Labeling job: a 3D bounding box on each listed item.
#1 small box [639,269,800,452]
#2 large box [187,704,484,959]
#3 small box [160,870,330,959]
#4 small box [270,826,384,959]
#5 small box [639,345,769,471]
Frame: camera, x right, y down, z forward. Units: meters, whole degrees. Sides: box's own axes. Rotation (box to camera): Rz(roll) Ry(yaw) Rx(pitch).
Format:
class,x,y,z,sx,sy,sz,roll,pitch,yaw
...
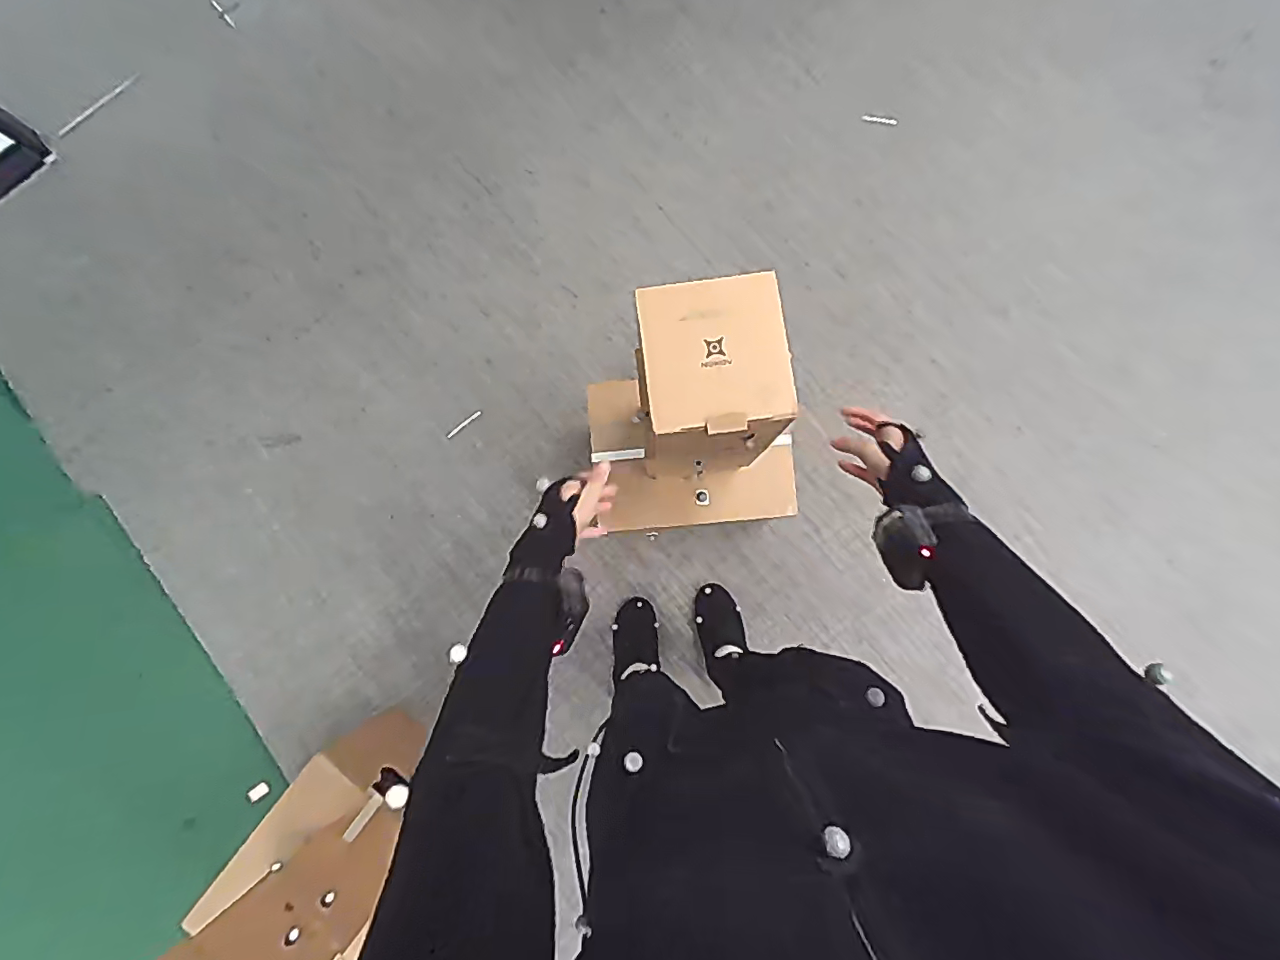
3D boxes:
class,x,y,z,sx,sy,sz,roll,pitch,yaw
small box,0.091,-0.137,0.685,0.168,0.176,0.179,-6,81,0
large box,-0.614,0.778,1.166,0.320,0.320,0.408,37,87,7
small box,-0.590,0.717,0.762,0.168,0.176,0.179,44,85,6
small box,-0.582,0.745,0.921,0.179,0.176,0.168,43,85,6
small box,0.092,-0.110,0.846,0.179,0.176,0.168,-4,82,2
